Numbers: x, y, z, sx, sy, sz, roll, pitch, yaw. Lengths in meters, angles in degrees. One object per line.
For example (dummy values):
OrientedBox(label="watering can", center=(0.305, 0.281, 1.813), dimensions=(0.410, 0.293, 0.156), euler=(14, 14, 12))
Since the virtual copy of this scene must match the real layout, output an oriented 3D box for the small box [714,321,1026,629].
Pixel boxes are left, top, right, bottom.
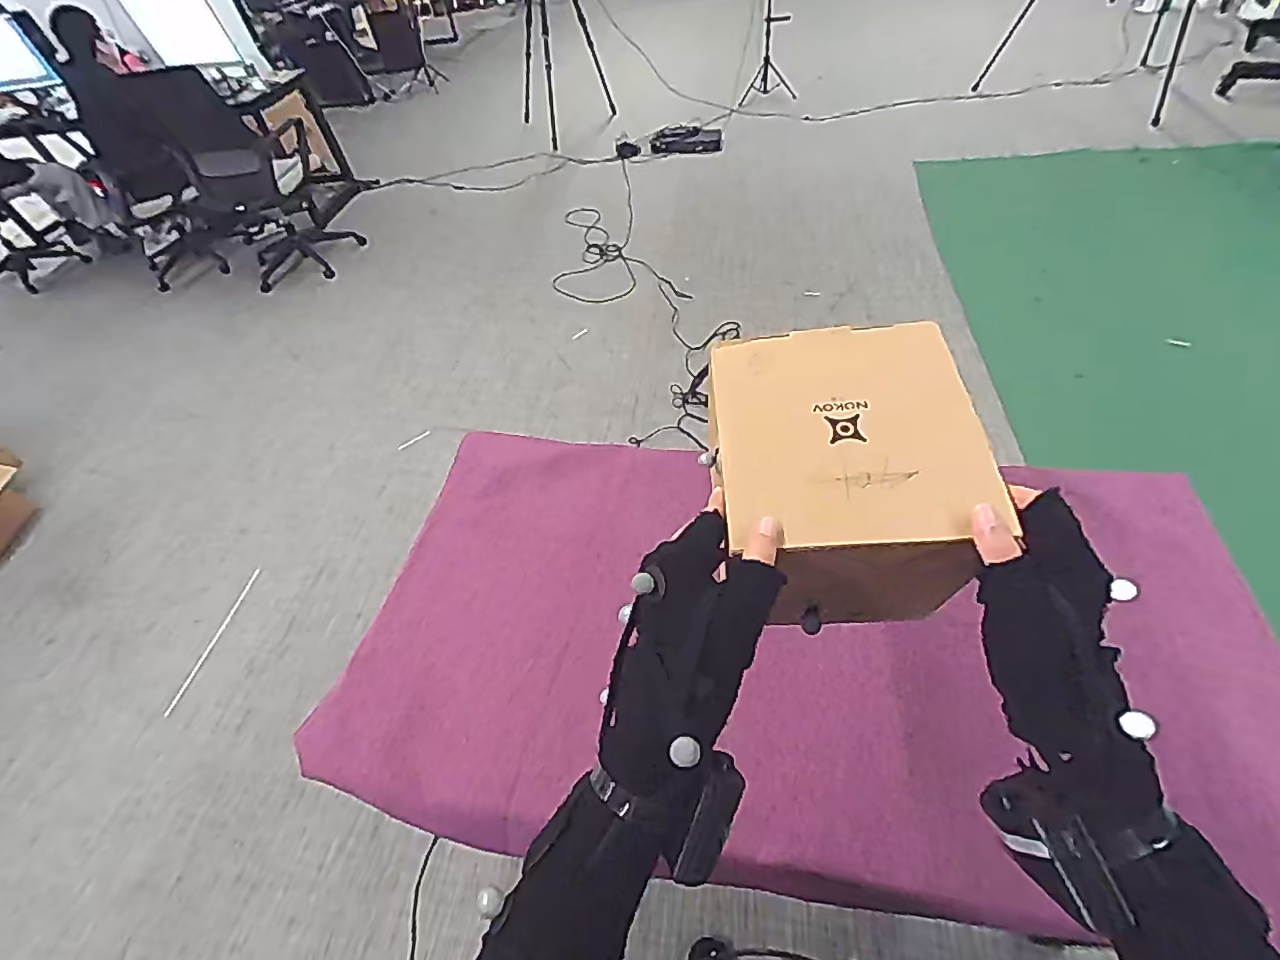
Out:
OrientedBox(label="small box", center=(0.145, 0.005, 0.421), dimensions=(0.168, 0.176, 0.179), euler=(-4, 60, 6))
